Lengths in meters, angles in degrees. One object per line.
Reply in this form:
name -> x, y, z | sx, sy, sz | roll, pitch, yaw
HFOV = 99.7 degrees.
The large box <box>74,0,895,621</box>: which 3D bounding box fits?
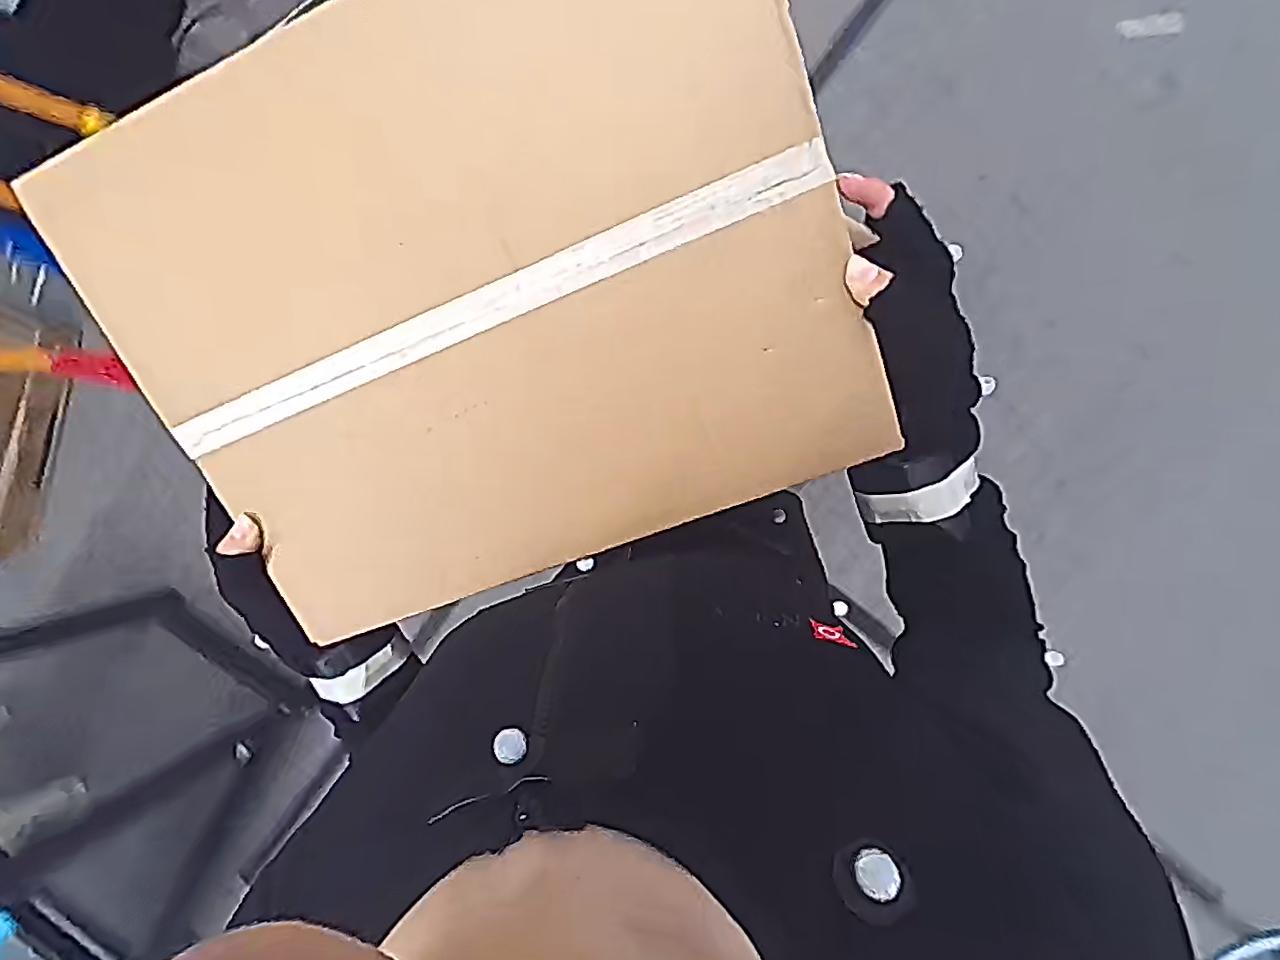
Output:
large box -> -0.077, -0.143, 0.452 | 0.408, 0.320, 0.320 | -19, 107, 10
